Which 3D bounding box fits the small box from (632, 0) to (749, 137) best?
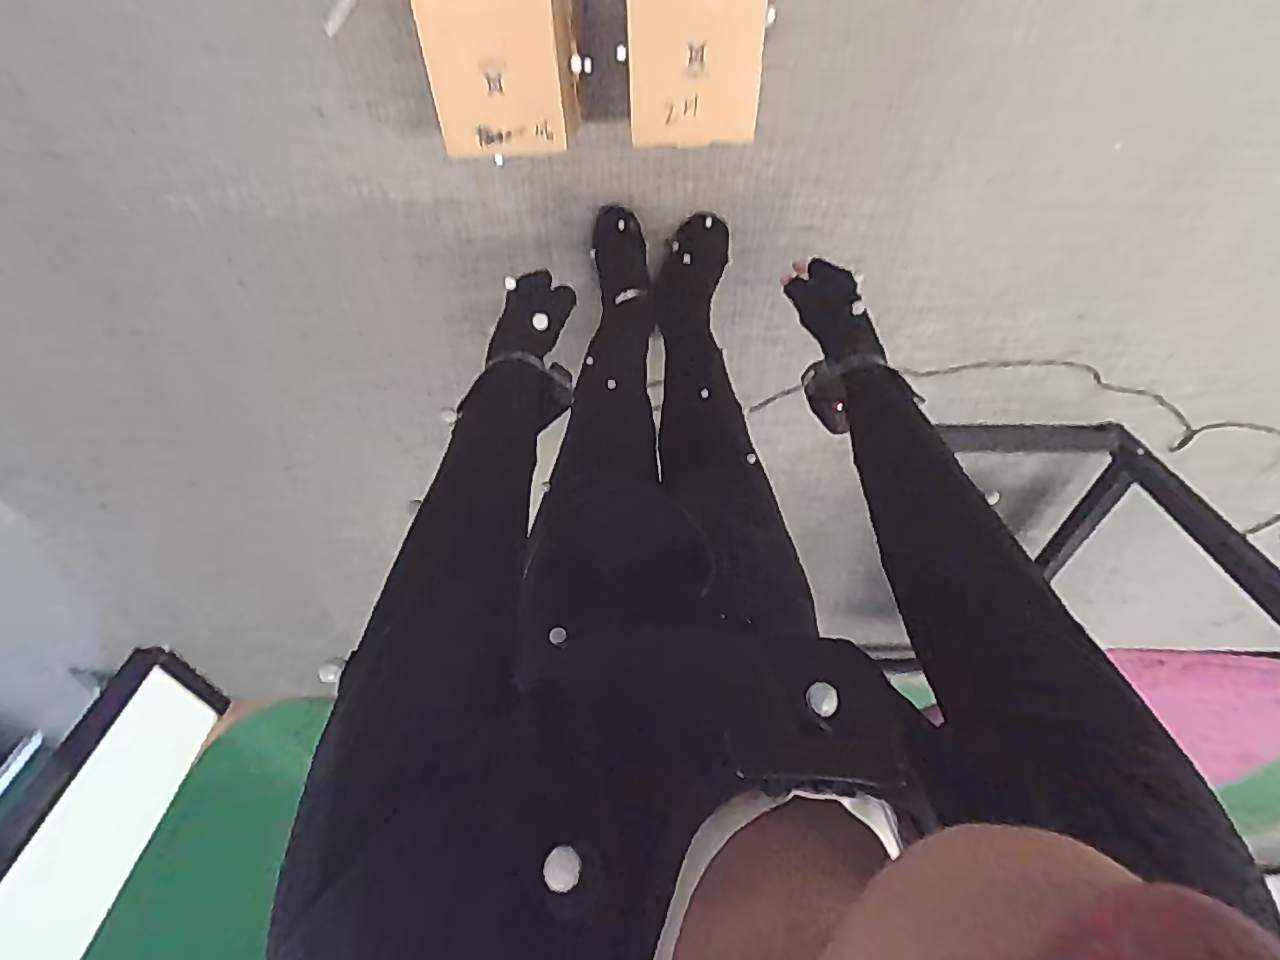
[{"bbox_3d":[0.075,-0.666,0.863,0.168,0.176,0.179,-1,130,2],"label":"small box"}]
